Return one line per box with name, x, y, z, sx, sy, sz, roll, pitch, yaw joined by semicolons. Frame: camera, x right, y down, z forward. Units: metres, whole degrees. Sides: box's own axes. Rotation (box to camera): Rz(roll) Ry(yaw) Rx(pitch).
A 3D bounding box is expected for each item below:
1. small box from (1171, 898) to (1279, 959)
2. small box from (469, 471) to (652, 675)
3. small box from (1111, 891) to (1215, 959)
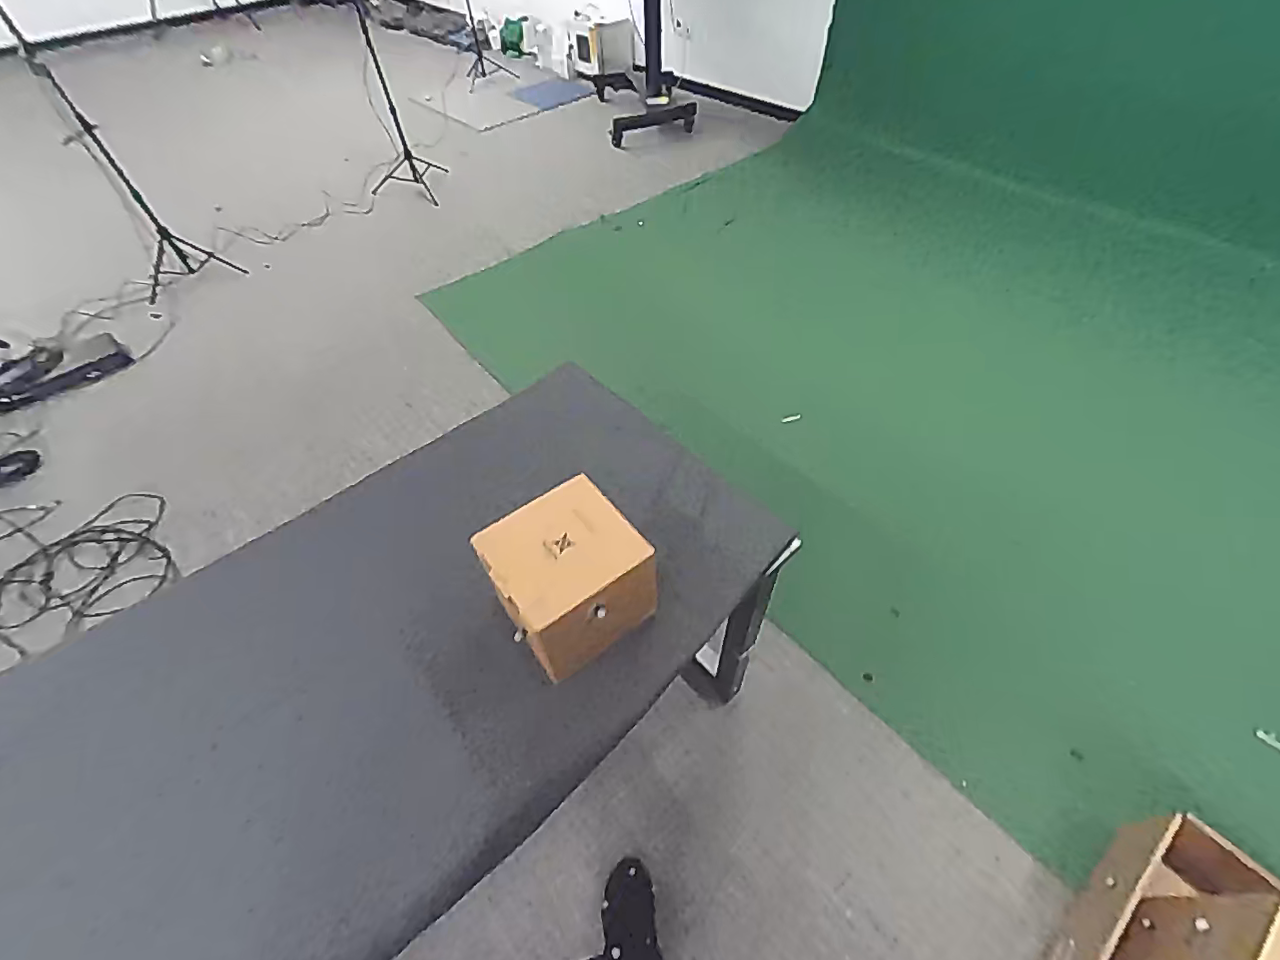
small box;0.992;0.776;0.823;0.168;0.176;0.179;-33;57;-22
small box;-0.096;0.128;0.725;0.179;0.176;0.168;-31;57;-22
small box;1.000;0.875;0.955;0.168;0.176;0.179;-35;59;-21
